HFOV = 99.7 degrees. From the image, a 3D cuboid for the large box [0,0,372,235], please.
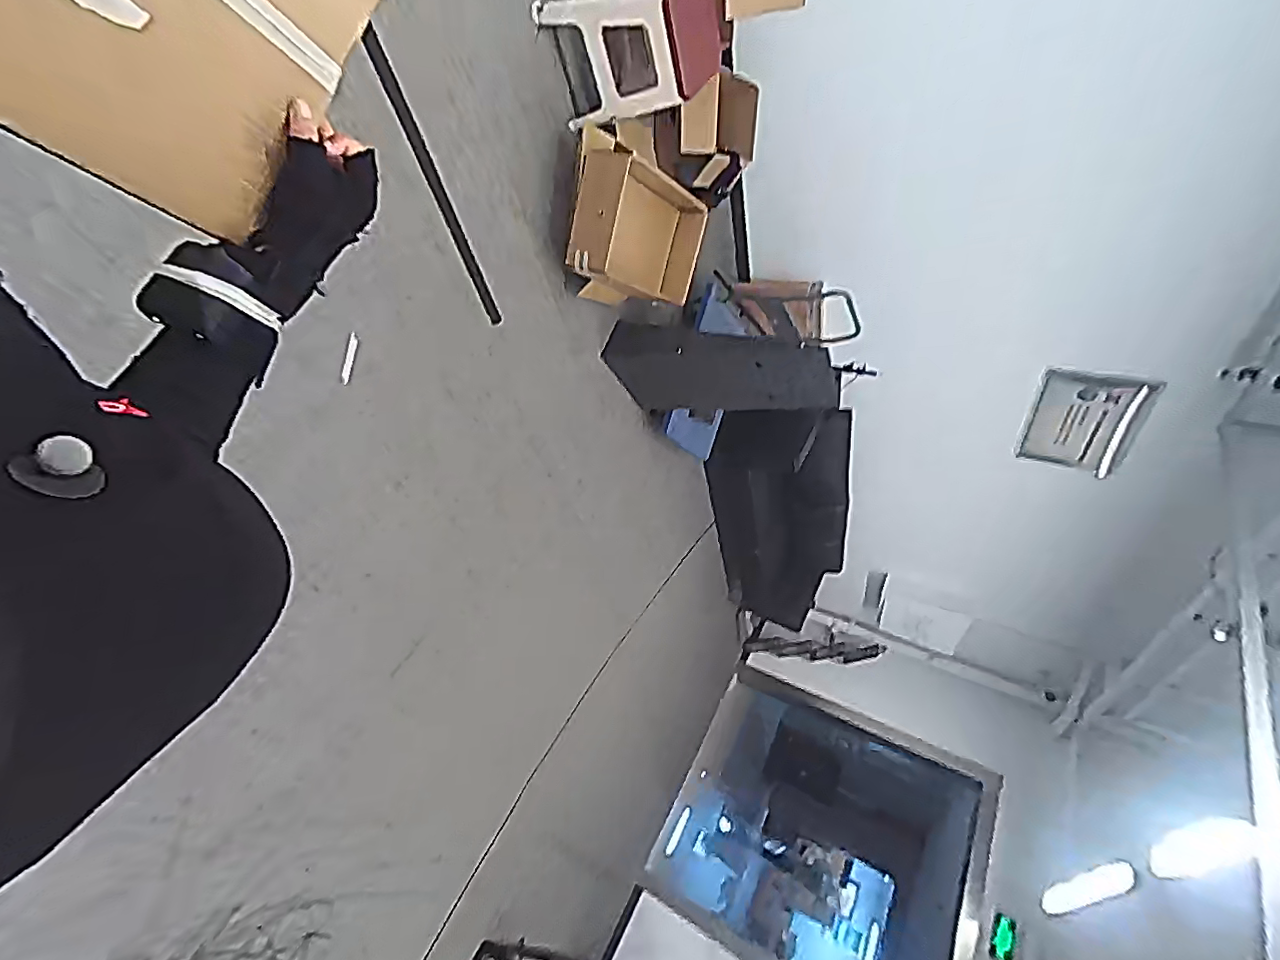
[{"bbox_3d":[-0.458,-0.439,0.352,0.320,0.320,0.408,-61,150,3],"label":"large box"}]
